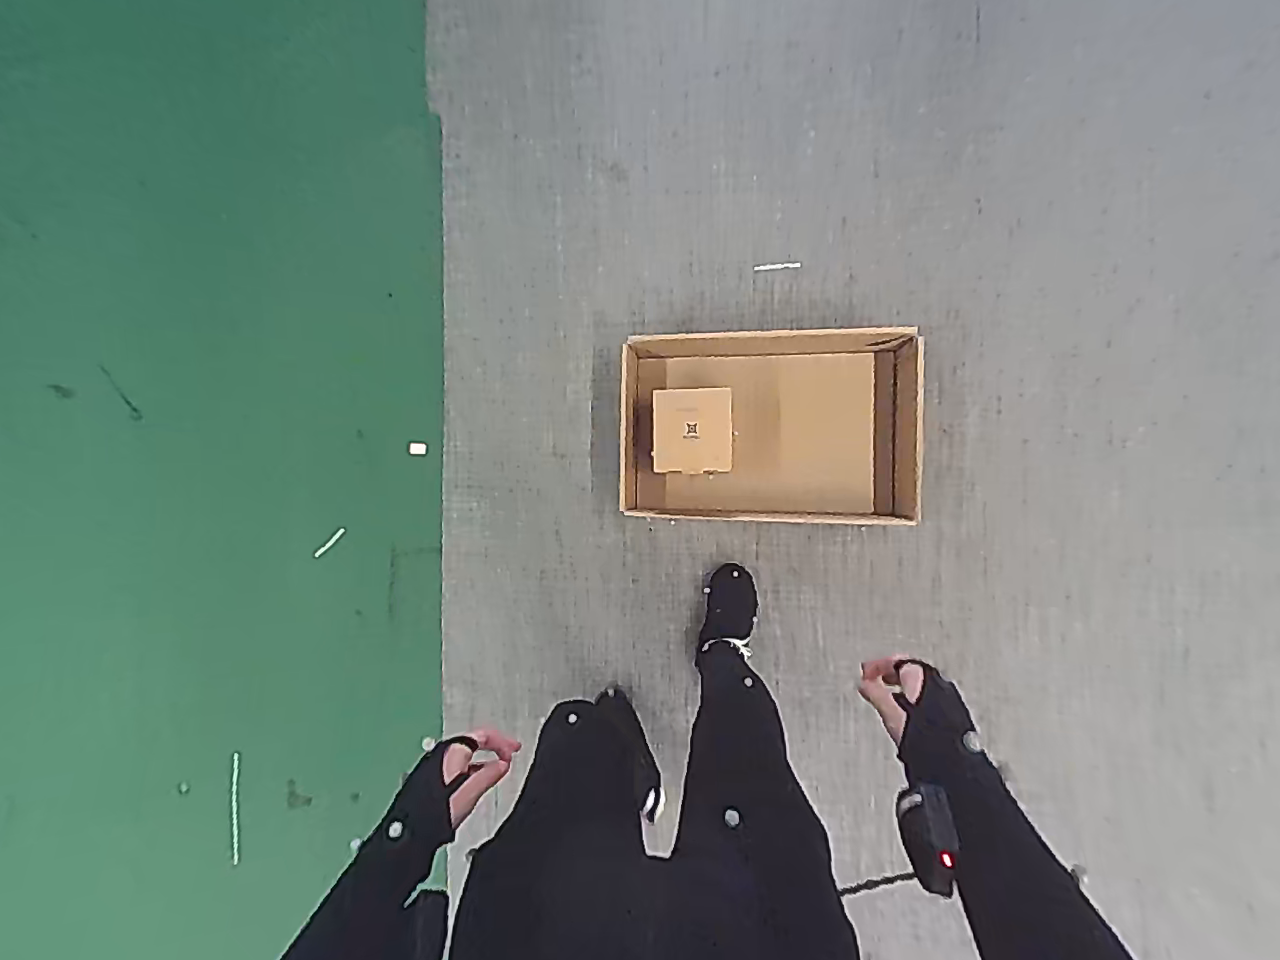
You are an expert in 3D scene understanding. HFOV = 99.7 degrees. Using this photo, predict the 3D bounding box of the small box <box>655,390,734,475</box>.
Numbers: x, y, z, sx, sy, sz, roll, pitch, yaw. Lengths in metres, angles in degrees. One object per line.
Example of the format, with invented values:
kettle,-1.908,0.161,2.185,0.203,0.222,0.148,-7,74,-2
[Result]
small box,0.125,-0.099,1.204,0.168,0.176,0.179,0,89,9
